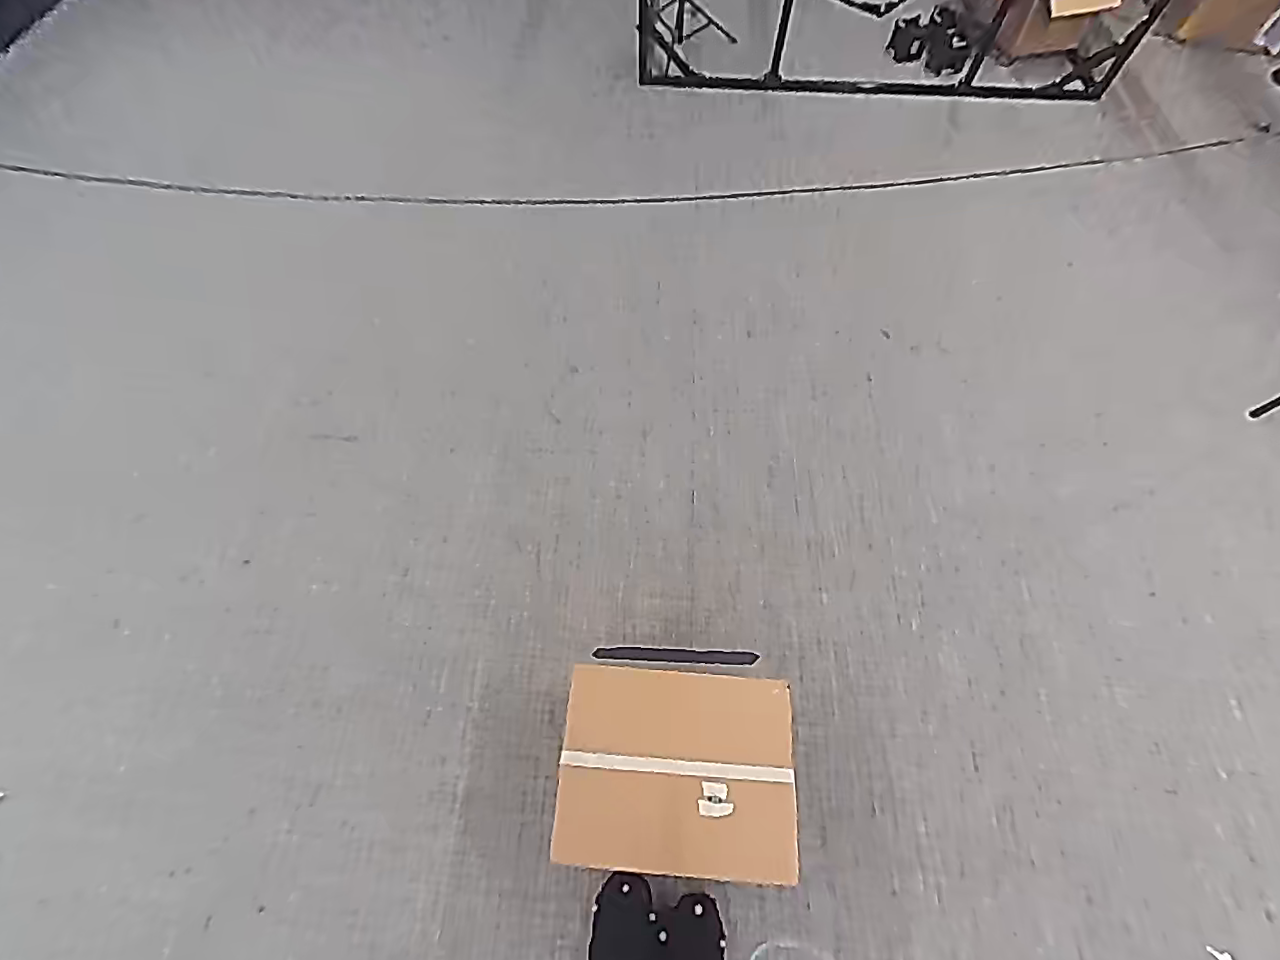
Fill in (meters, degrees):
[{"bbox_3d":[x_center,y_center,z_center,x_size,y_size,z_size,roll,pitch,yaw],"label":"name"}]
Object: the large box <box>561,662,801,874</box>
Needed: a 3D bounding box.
[{"bbox_3d":[0.073,0.562,1.084,0.408,0.320,0.320,4,64,2],"label":"large box"}]
